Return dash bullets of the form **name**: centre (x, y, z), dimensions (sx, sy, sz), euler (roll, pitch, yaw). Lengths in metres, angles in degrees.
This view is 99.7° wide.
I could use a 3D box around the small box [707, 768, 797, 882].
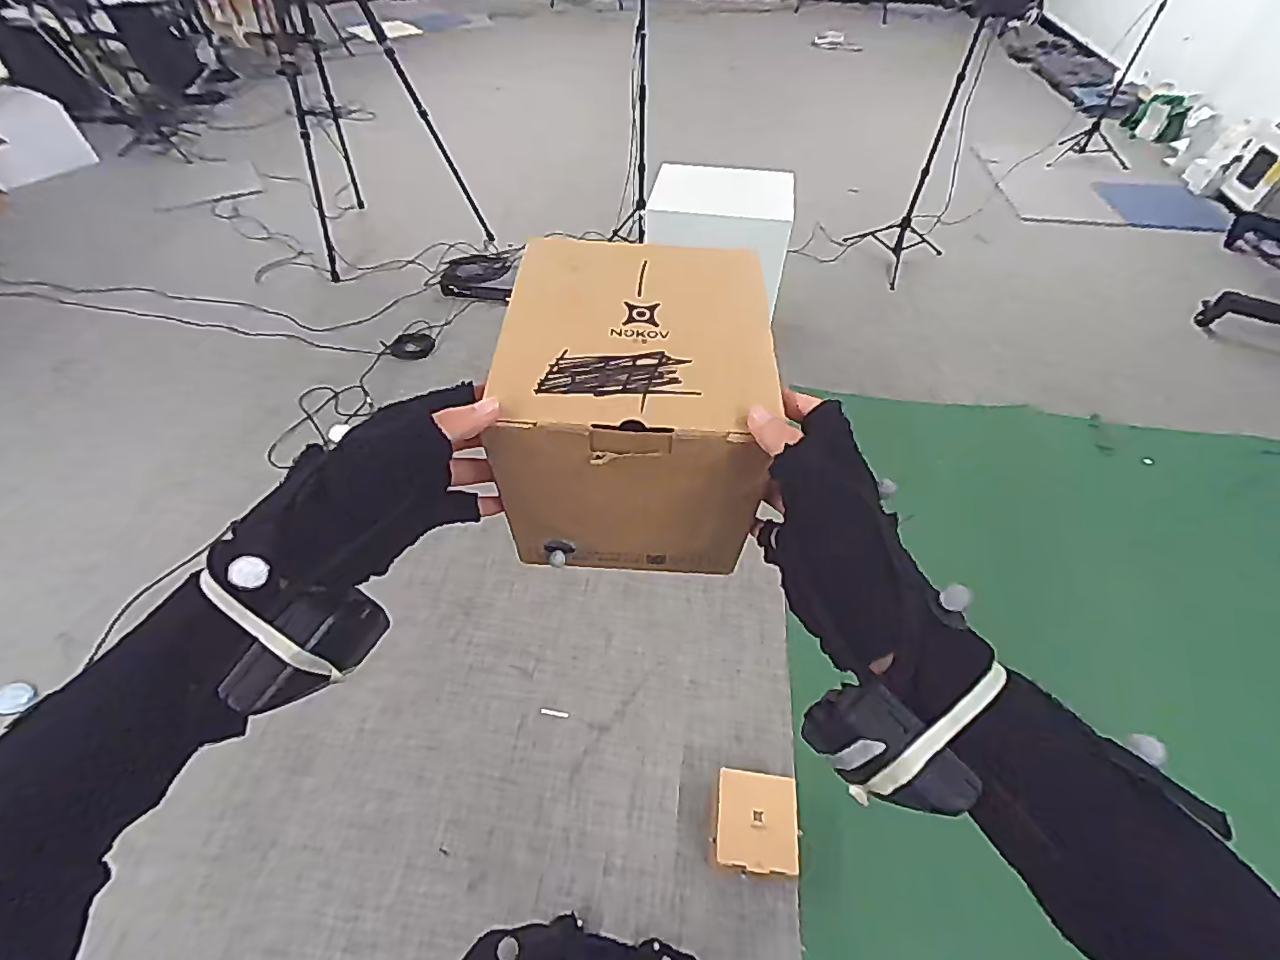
- **small box**: centre (0.238, 0.754, 1.180), dimensions (0.168, 0.176, 0.179), euler (6, 51, 4)
